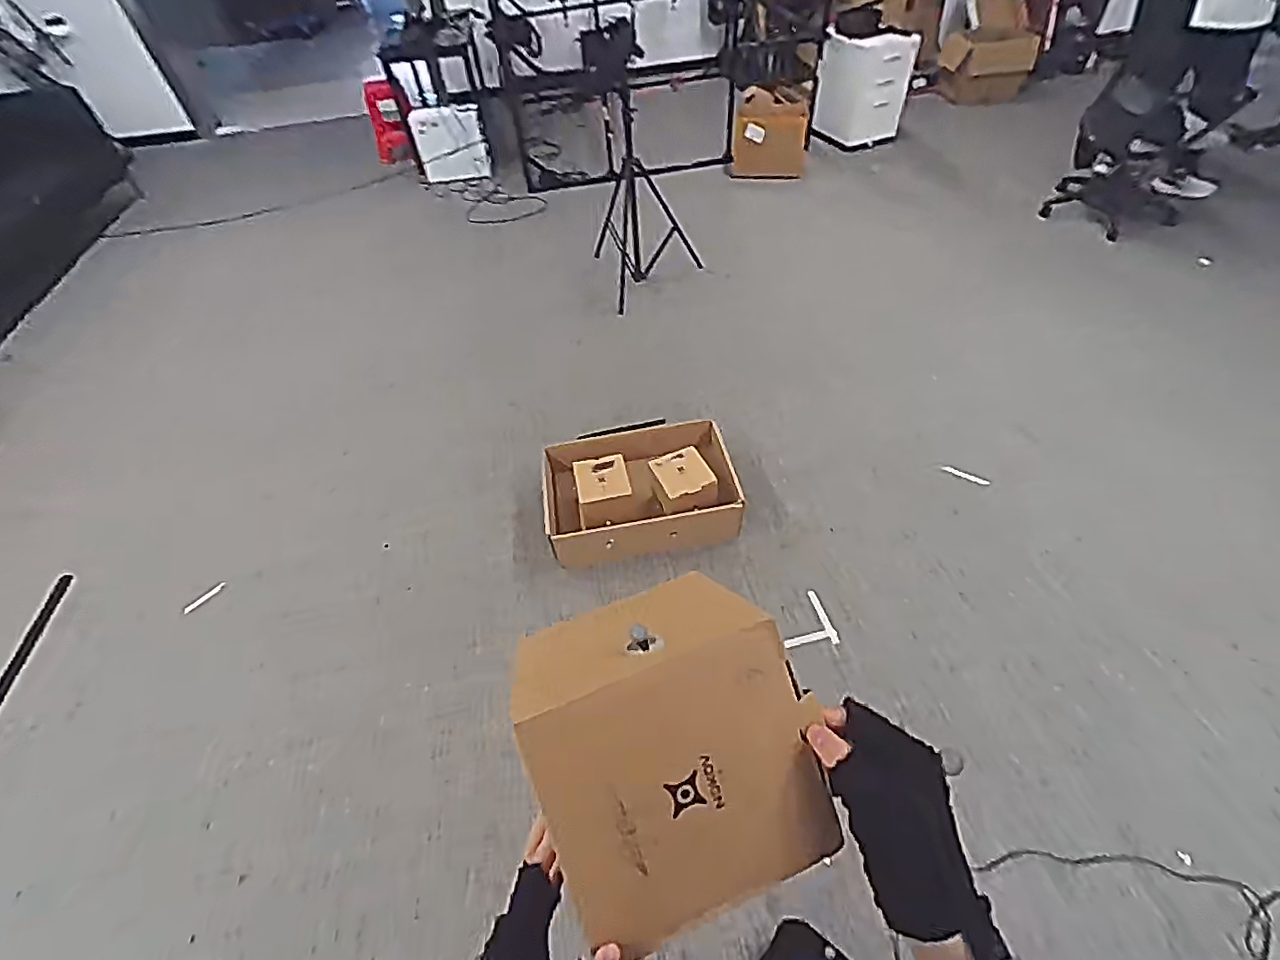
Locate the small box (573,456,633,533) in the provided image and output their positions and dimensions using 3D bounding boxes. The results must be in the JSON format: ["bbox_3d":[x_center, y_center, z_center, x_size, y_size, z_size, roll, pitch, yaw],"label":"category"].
[{"bbox_3d":[-0.121,0.048,1.778,0.168,0.176,0.179,-11,50,-6],"label":"small box"}]
